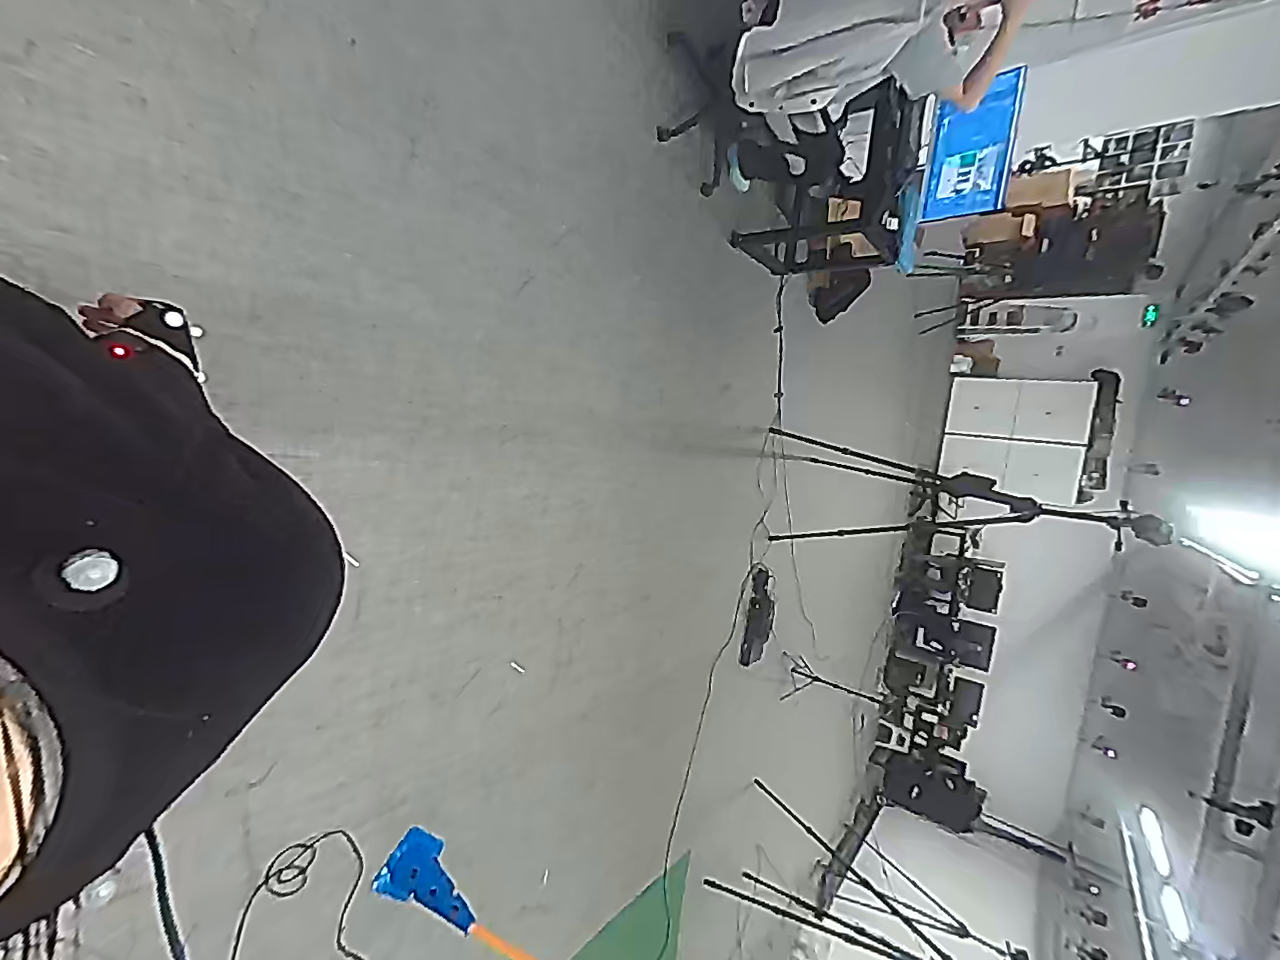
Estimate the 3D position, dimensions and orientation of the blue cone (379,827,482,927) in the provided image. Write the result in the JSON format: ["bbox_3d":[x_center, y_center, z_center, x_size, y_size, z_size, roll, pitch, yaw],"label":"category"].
[{"bbox_3d":[-0.648,1.316,1.748,0.193,0.380,0.192,-56,137,-31],"label":"blue cone"}]
